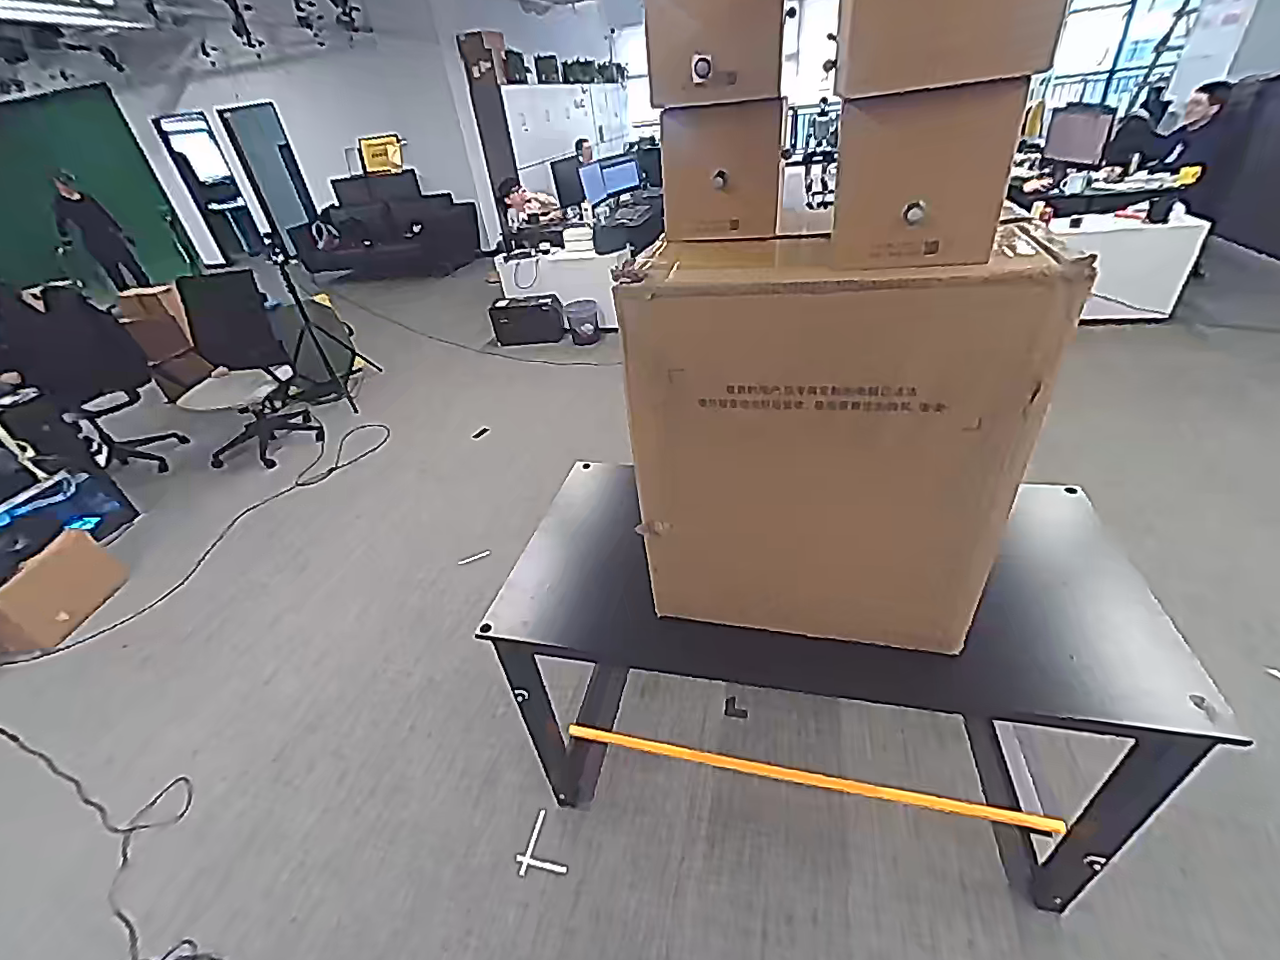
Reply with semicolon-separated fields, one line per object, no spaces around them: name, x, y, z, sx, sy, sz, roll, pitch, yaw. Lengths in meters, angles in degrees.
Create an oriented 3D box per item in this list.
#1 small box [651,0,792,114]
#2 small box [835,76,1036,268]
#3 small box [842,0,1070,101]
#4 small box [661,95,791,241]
small box;0.108;-0.579;0.695;0.168;0.176;0.179;2;36;13
small box;0.319;-0.353;0.626;0.168;0.176;0.179;4;37;18
small box;0.290;-0.470;0.510;0.179;0.176;0.168;2;37;14
small box;0.135;-0.464;0.814;0.168;0.176;0.179;5;36;14
